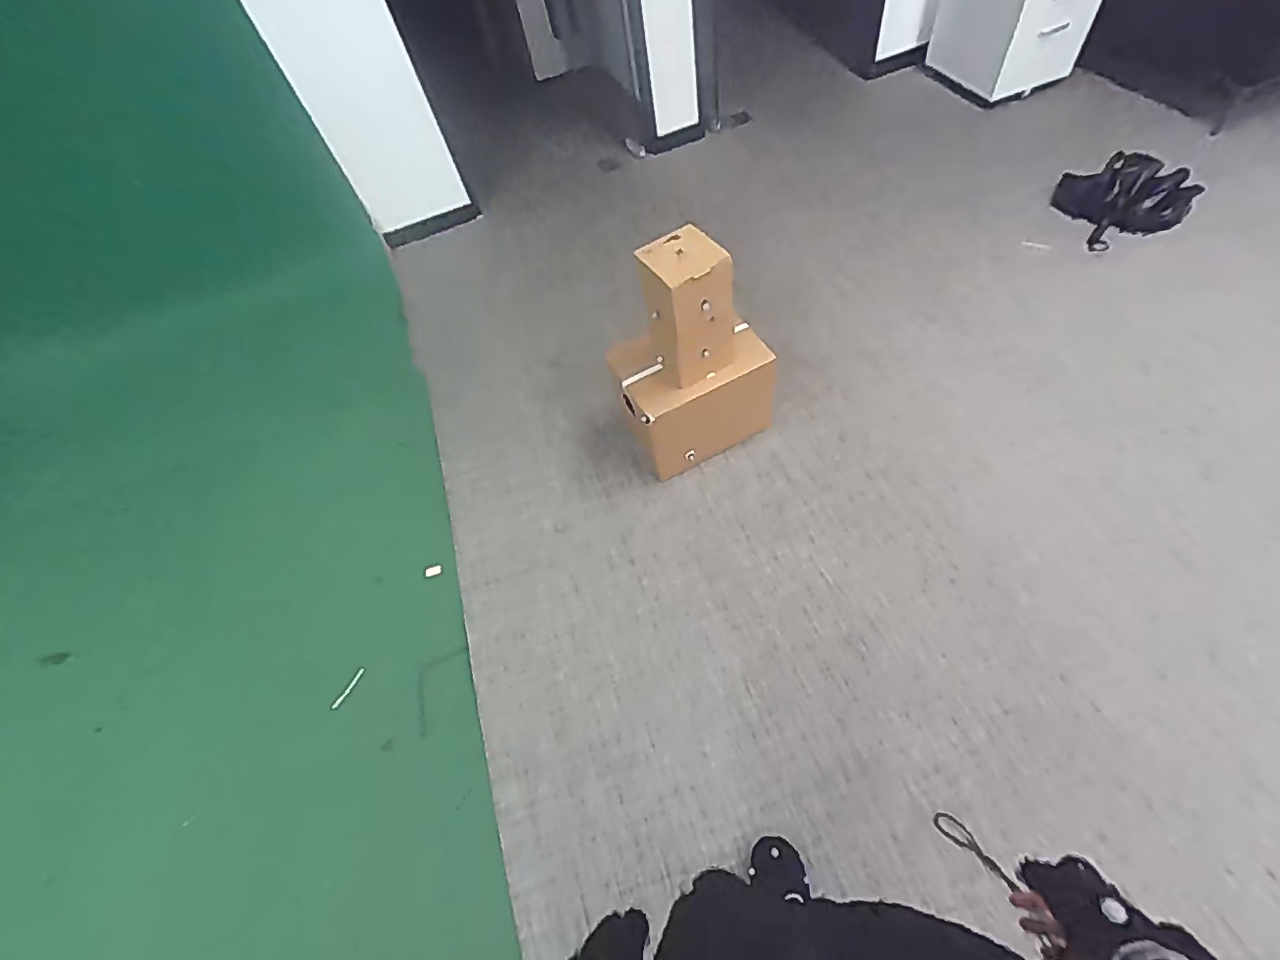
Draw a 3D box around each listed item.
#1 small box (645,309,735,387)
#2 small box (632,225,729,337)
[{"bbox_3d":[0.134,-0.384,1.445,0.179,0.176,0.168,-31,58,-11],"label":"small box"},{"bbox_3d":[0.103,-0.473,1.311,0.168,0.176,0.179,-29,58,-9],"label":"small box"}]
